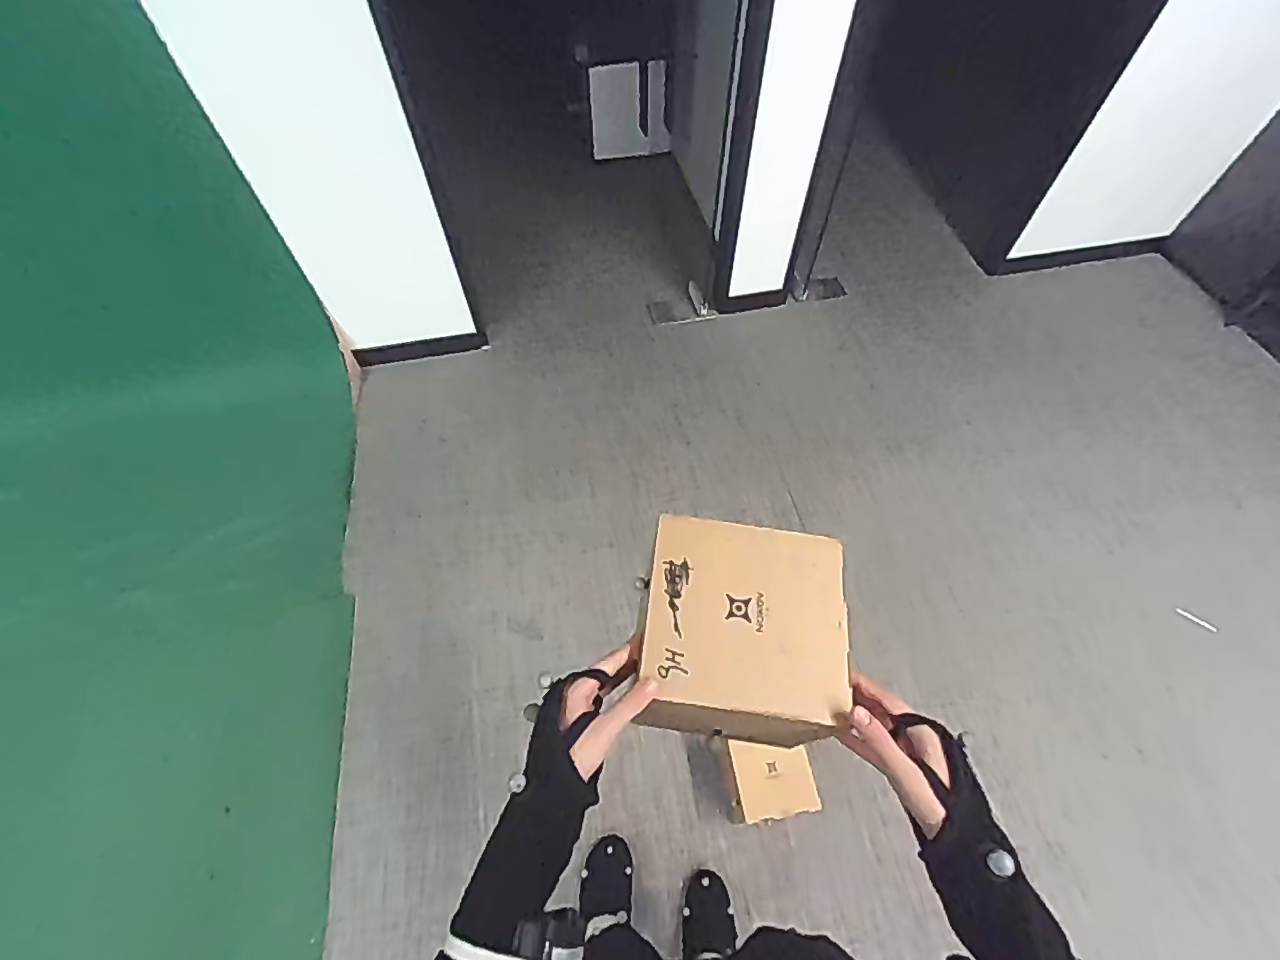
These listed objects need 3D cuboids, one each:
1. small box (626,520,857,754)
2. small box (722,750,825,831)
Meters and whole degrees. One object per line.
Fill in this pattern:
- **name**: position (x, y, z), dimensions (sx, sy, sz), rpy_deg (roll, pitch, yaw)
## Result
- **small box**: position (0.087, 0.160, 0.527), dimensions (0.179, 0.176, 0.168), rpy_deg (9, 57, 1)
- **small box**: position (0.289, 0.676, 1.219), dimensions (0.168, 0.176, 0.179), rpy_deg (-8, 58, -5)
